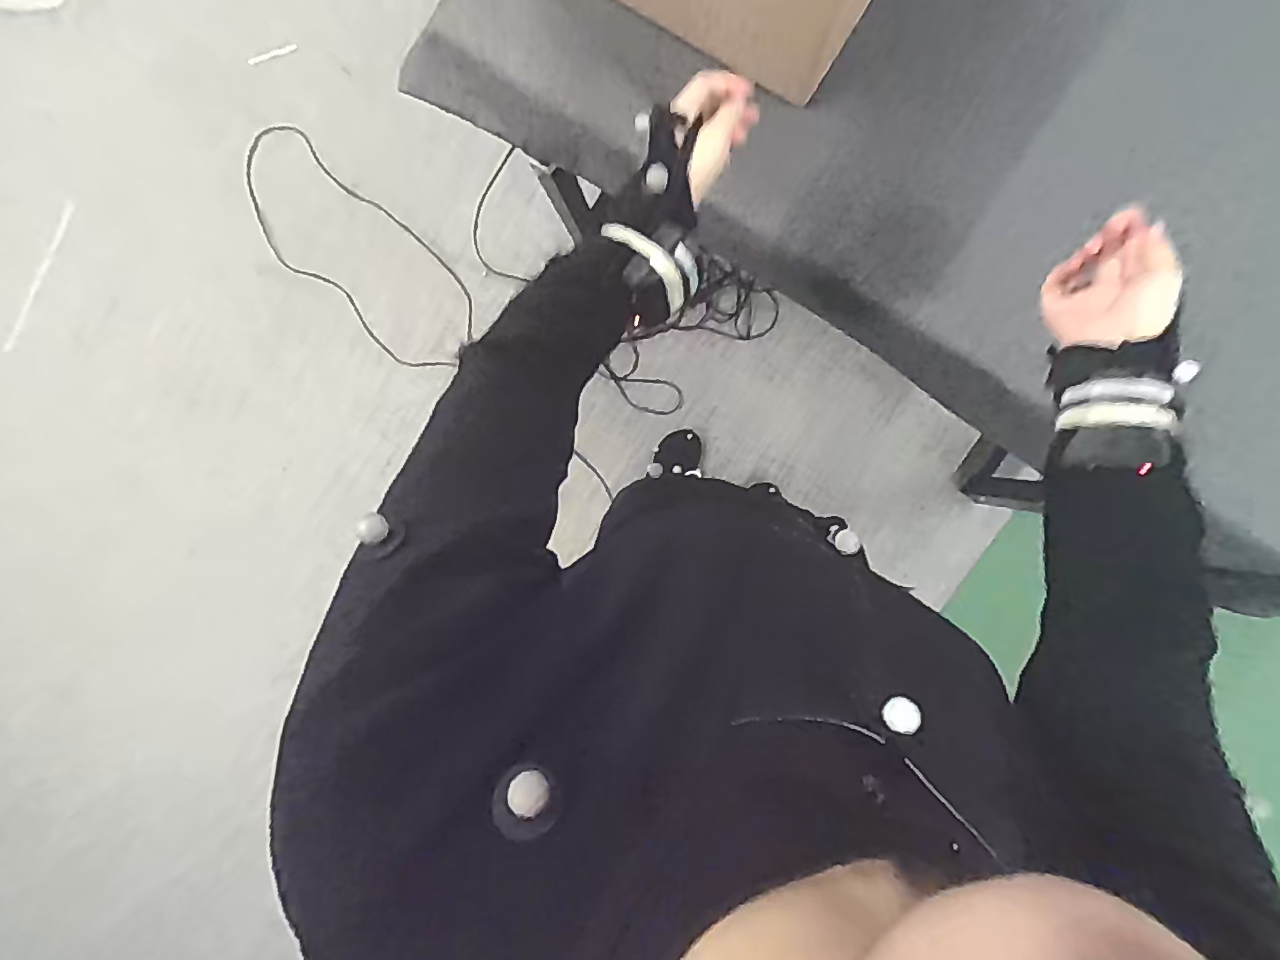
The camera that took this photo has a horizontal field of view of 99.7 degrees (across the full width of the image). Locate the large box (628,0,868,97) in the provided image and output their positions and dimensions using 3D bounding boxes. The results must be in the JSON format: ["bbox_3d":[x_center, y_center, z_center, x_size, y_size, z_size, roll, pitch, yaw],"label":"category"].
[{"bbox_3d":[0.087,-0.648,0.459,0.408,0.320,0.320,31,96,1],"label":"large box"}]
